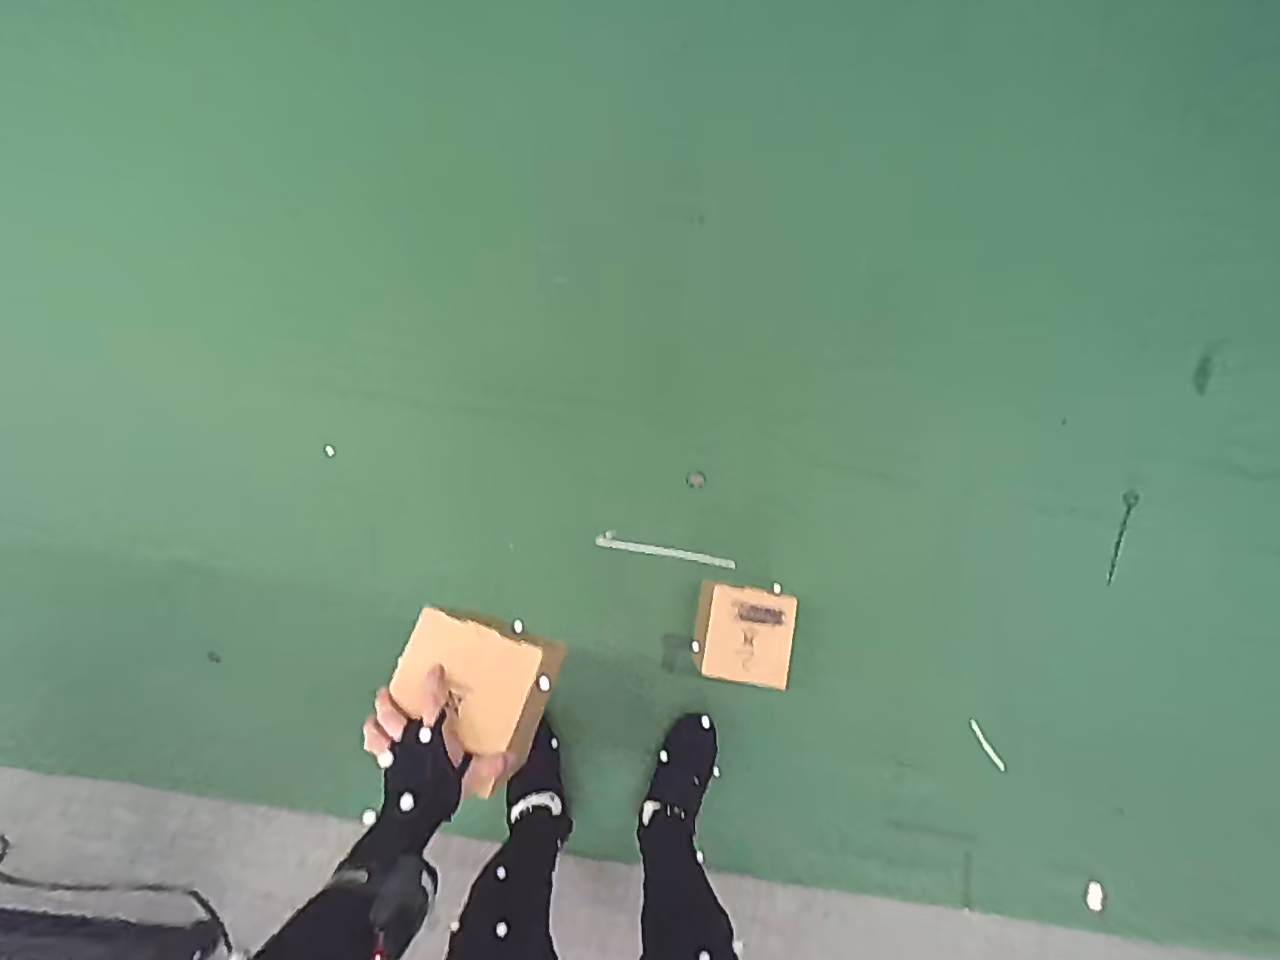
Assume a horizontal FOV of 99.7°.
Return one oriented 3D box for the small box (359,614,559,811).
[{"bbox_3d":[-0.220,0.292,0.714,0.168,0.176,0.179,18,75,8],"label":"small box"}]
